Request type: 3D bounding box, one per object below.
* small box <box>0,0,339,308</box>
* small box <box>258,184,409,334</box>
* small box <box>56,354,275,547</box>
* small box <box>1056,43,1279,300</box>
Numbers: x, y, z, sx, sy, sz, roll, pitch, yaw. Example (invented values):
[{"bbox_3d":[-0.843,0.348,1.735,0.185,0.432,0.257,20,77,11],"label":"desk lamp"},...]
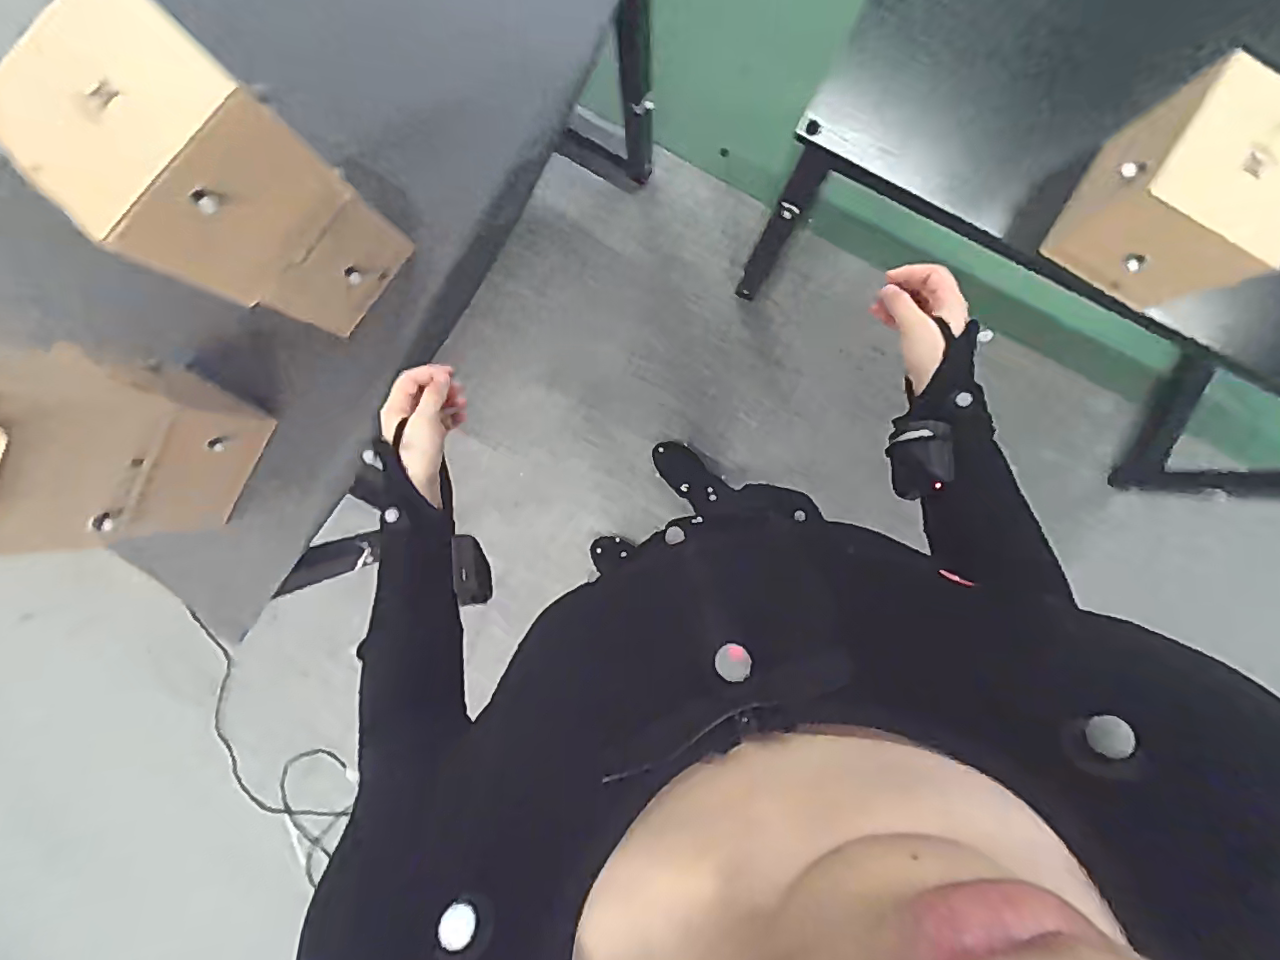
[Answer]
[{"bbox_3d":[-0.435,-0.302,0.525,0.168,0.176,0.179,43,94,2],"label":"small box"},{"bbox_3d":[-0.436,-0.307,0.689,0.179,0.176,0.168,38,93,1],"label":"small box"},{"bbox_3d":[-0.627,-0.036,0.705,0.168,0.176,0.179,28,93,3],"label":"small box"},{"bbox_3d":[0.657,-0.346,0.648,0.168,0.176,0.179,31,93,0],"label":"small box"}]
